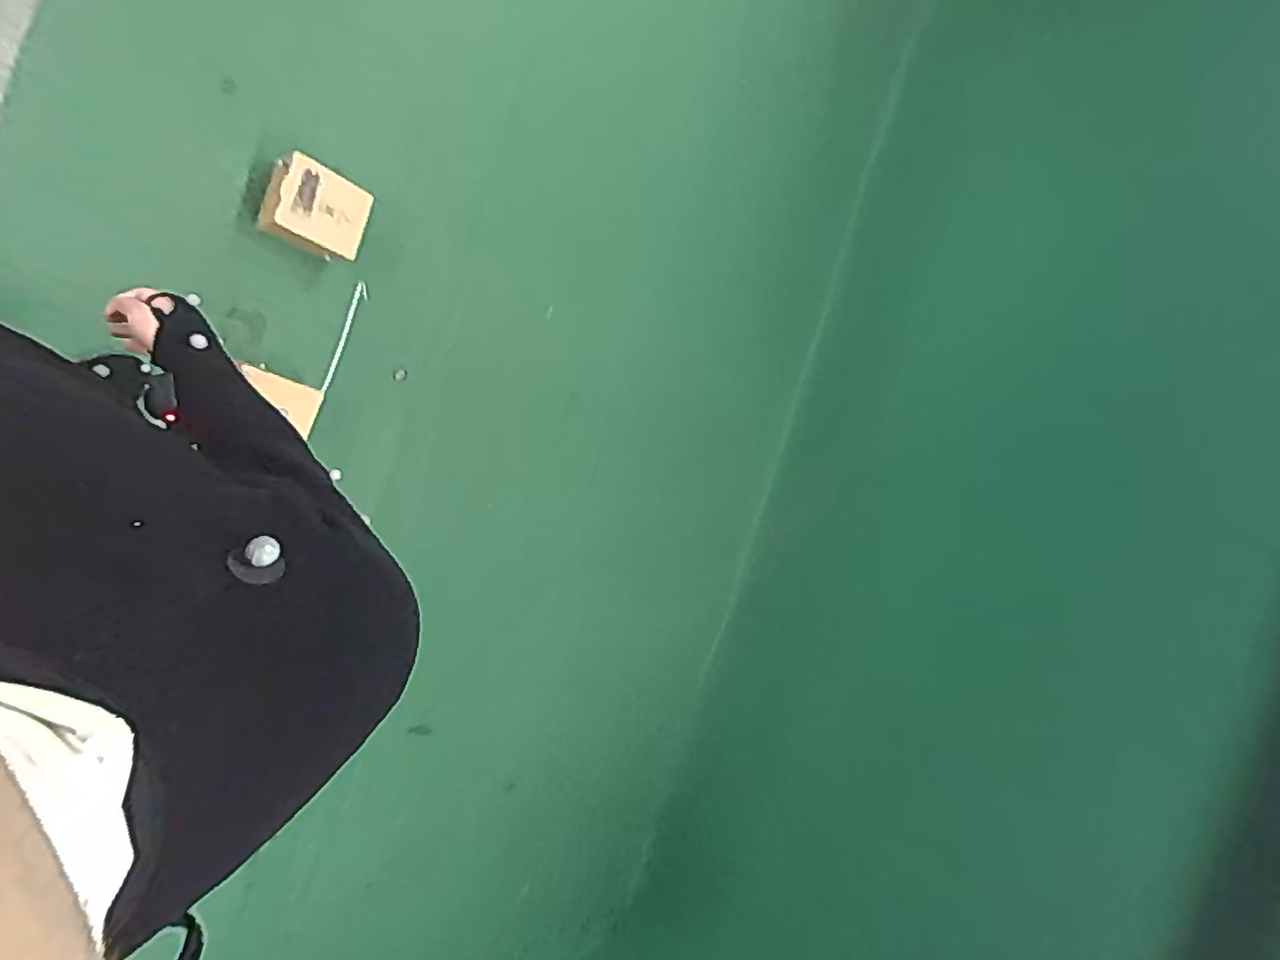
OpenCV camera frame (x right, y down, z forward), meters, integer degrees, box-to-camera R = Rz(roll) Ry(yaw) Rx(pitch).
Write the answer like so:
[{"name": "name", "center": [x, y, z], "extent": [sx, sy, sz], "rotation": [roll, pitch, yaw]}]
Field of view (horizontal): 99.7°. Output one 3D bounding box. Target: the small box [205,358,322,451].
[{"name": "small box", "center": [-0.918, -0.187, 1.316], "extent": [0.179, 0.176, 0.168], "rotation": [23, 87, -47]}]
